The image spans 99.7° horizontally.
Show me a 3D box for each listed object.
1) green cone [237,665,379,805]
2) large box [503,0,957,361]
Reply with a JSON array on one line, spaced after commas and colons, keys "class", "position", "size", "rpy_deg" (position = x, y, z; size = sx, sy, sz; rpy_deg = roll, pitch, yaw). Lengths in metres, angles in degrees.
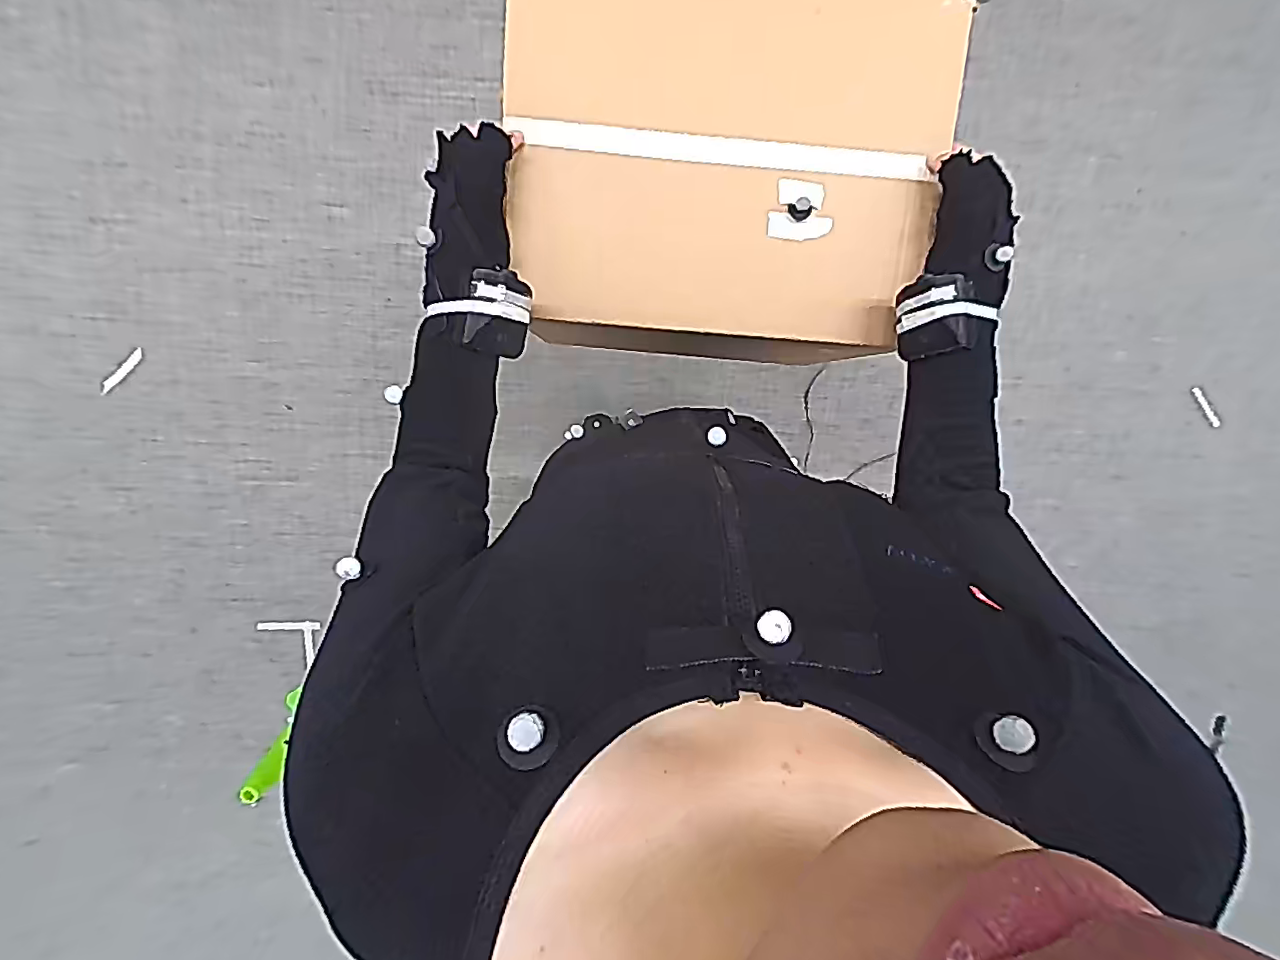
[{"class": "green cone", "position": [-0.878, 0.677, 1.382], "size": [0.202, 0.368, 0.200], "rpy_deg": [-35, 97, 5]}, {"class": "large box", "position": [0.068, -0.318, 0.637], "size": [0.408, 0.320, 0.320], "rpy_deg": [4, 99, -4]}]
